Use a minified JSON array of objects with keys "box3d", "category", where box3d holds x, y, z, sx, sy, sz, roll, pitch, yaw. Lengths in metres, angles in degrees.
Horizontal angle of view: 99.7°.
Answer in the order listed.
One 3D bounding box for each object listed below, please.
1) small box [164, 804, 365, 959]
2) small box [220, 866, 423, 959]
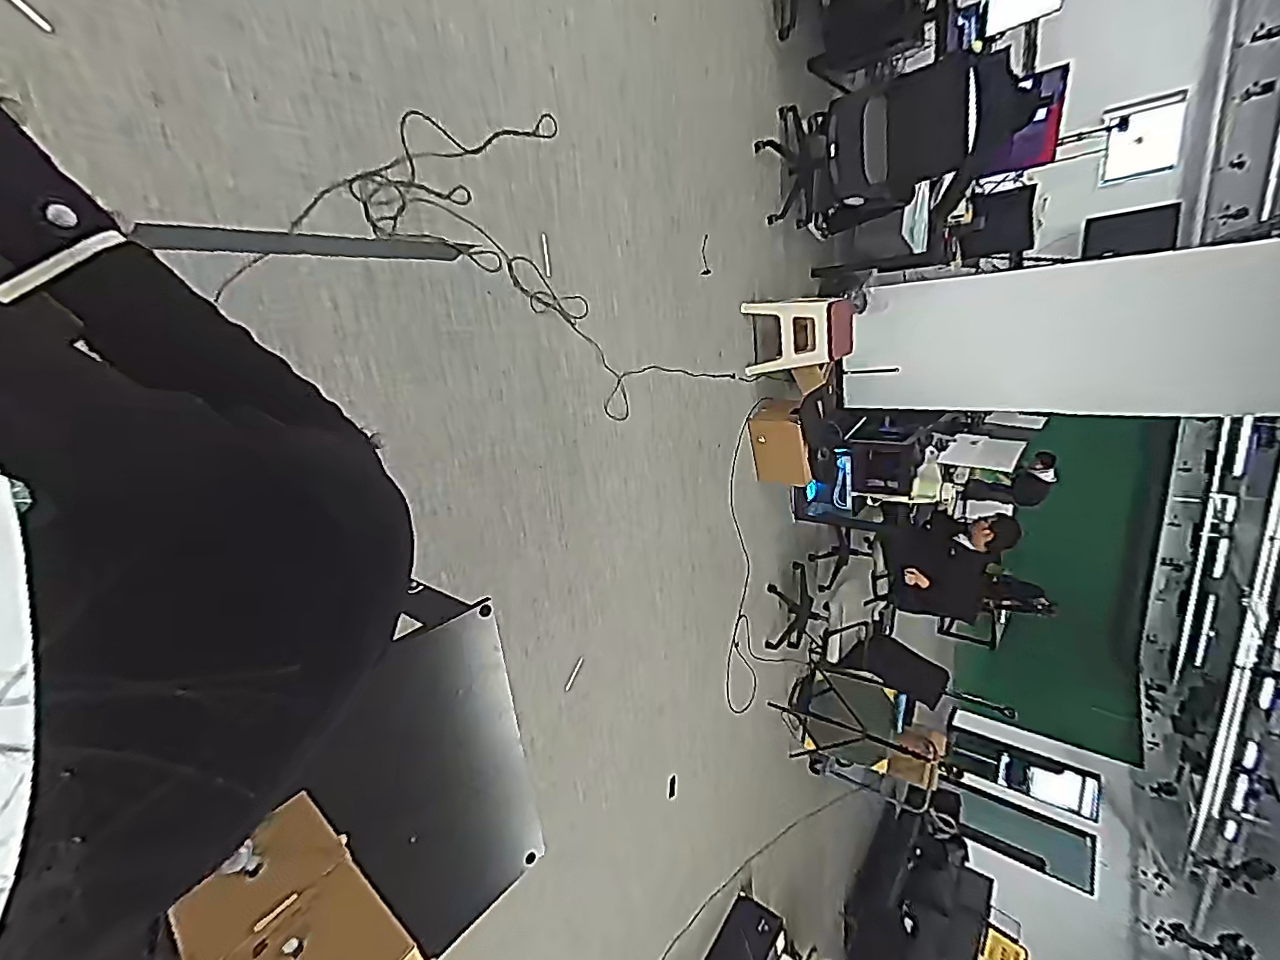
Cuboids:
[{"box3d":[-0.456,0.550,0.683,0.168,0.176,0.179,-29,117,-44],"category":"small box"},{"box3d":[-0.329,0.571,0.577,0.168,0.176,0.179,-31,119,-44],"category":"small box"}]
